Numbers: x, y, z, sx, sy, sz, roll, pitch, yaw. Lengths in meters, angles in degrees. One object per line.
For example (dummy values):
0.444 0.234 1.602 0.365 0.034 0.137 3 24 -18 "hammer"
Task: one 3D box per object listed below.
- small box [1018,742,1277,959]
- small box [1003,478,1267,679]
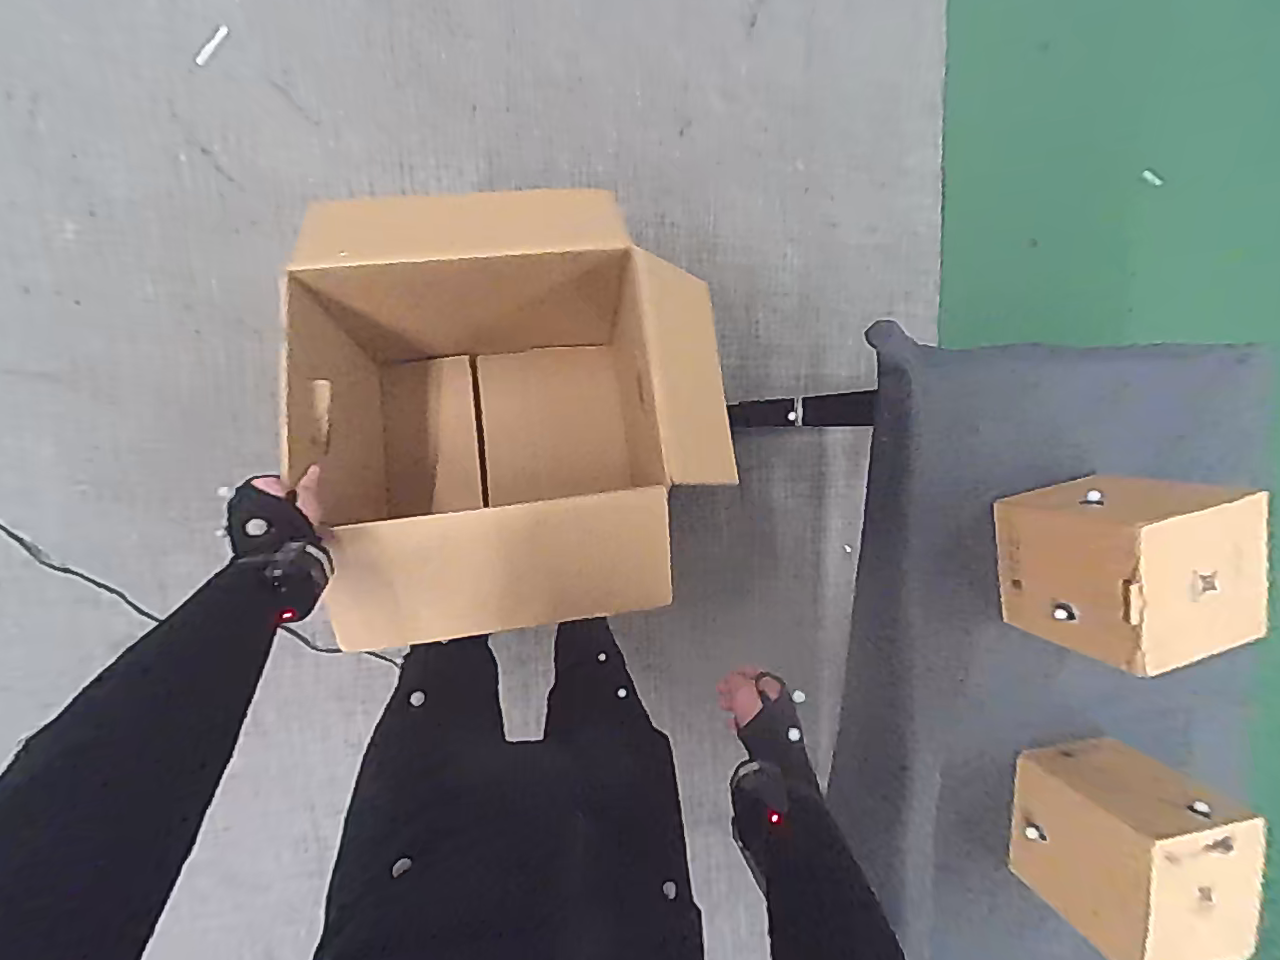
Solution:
0.612 0.462 0.673 0.168 0.176 0.179 -2 96 -12 "small box"
0.559 0.099 0.631 0.179 0.176 0.168 -13 99 -13 "small box"
